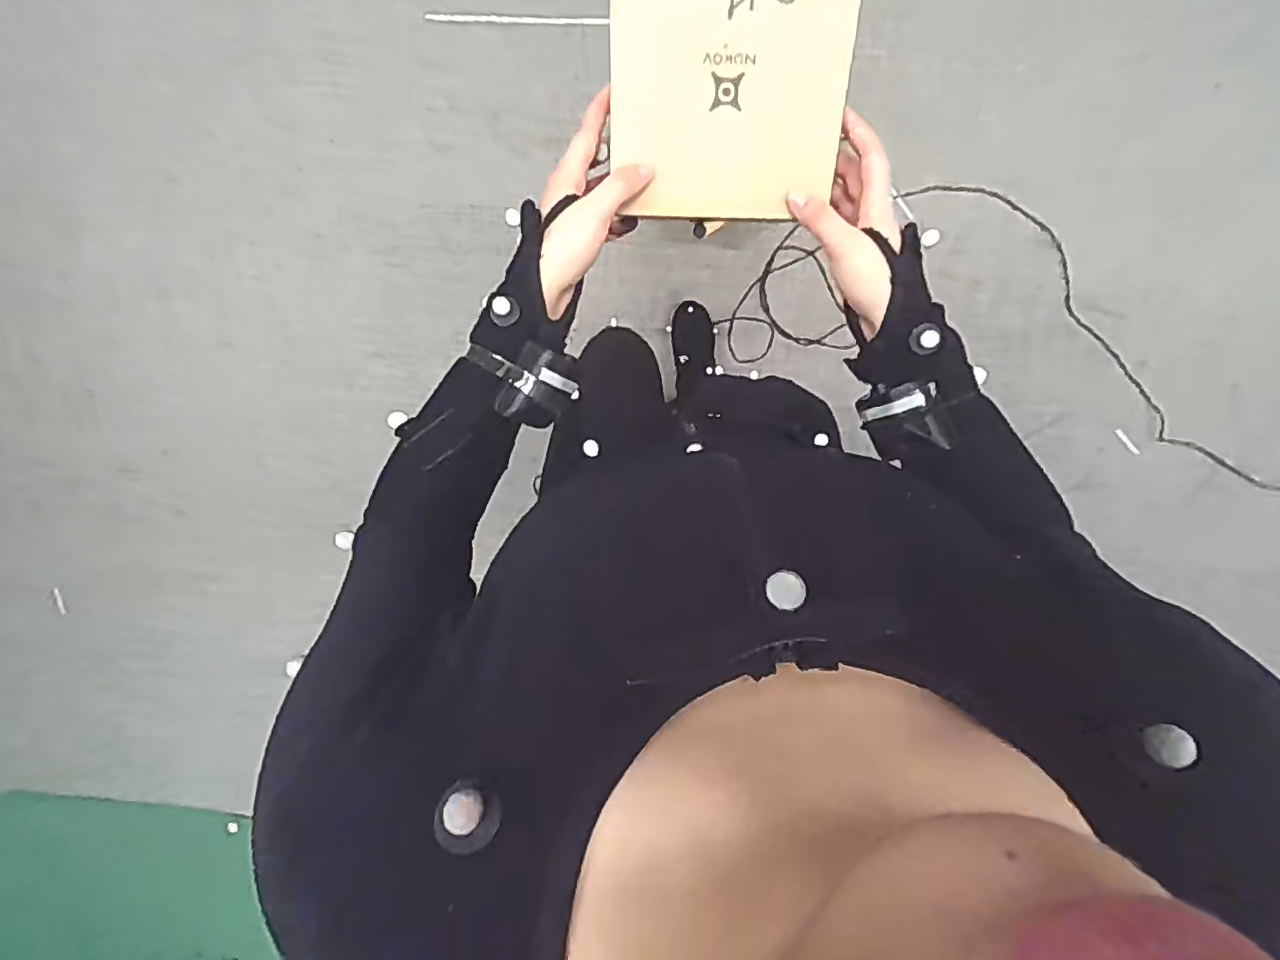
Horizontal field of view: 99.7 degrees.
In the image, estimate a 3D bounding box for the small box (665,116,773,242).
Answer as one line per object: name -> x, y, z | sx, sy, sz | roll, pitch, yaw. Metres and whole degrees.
small box -> 0.173, -0.656, 1.208 | 0.179, 0.176, 0.168 | -30, 103, 13
